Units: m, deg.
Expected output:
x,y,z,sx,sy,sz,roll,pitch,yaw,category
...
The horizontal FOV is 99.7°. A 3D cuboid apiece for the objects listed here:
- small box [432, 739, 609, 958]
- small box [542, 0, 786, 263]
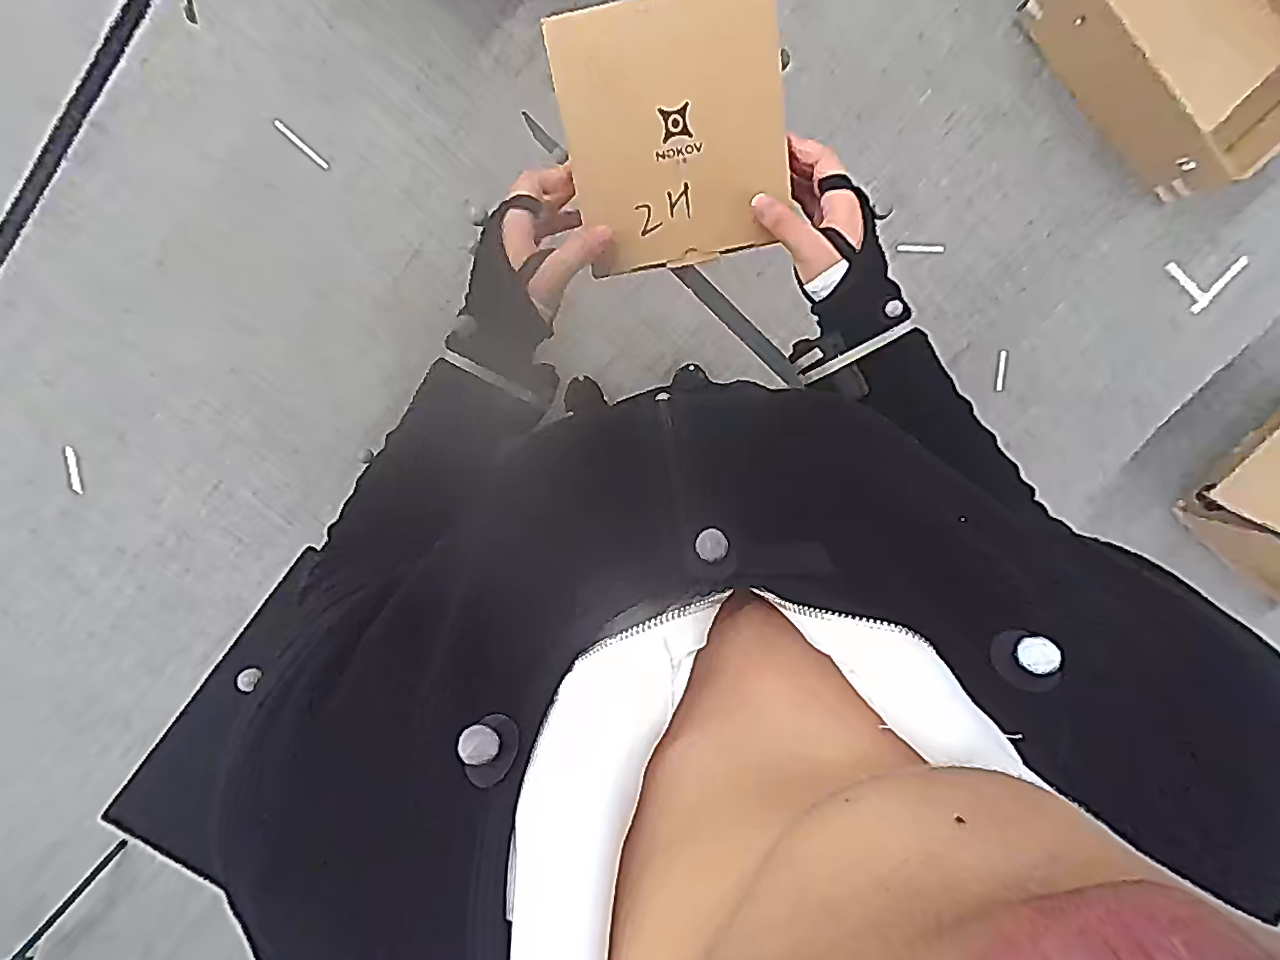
x,y,z,sx,sy,sz,roll,pitch,yaw,category
-0.158,0.523,0.790,0.179,0.176,0.168,39,99,-8,small box
0.021,-0.295,0.475,0.168,0.176,0.179,-9,113,3,small box
